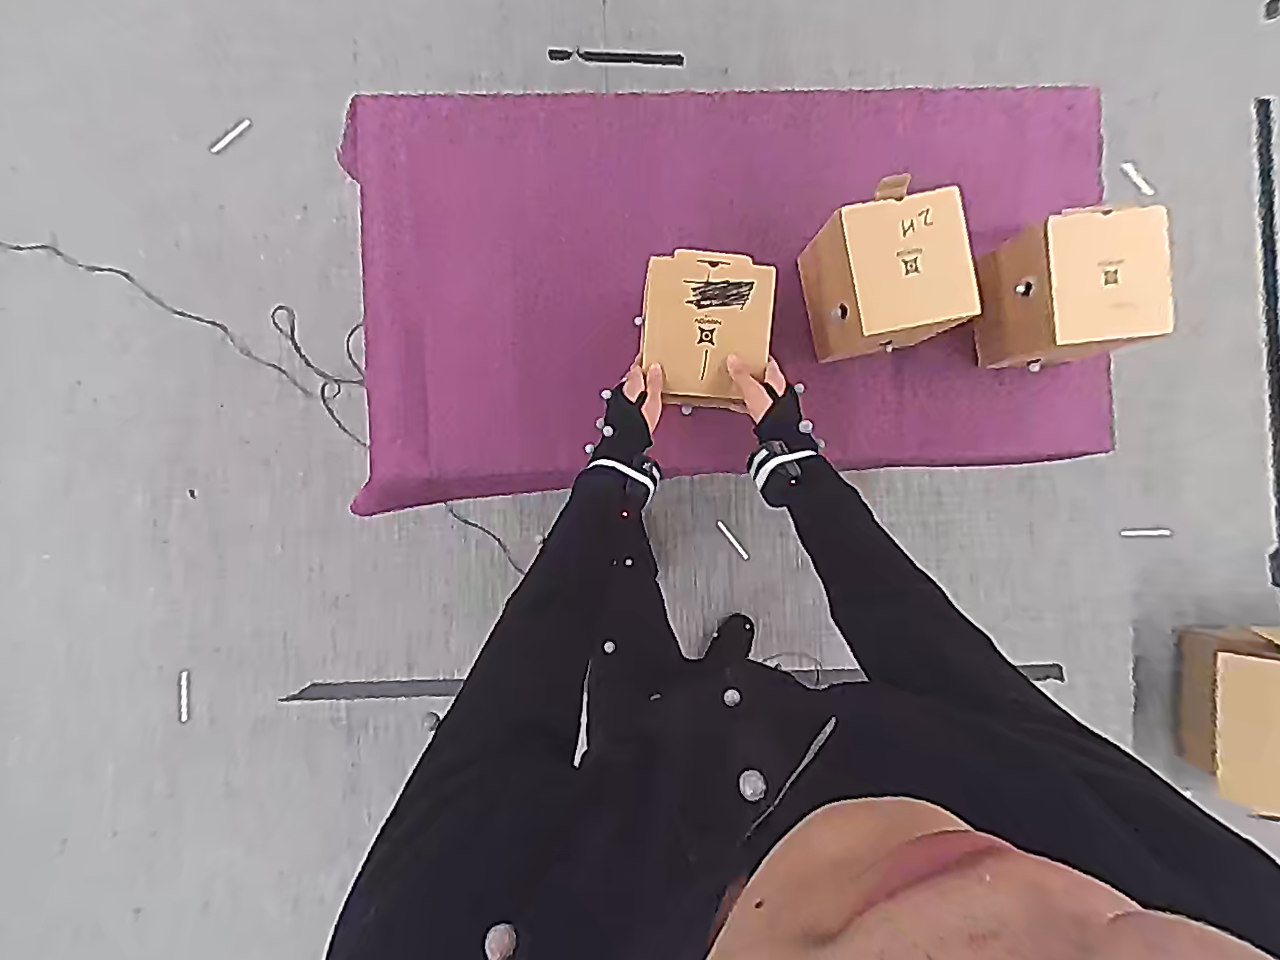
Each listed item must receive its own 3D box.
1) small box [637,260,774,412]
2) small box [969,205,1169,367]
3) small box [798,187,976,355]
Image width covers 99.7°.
[{"bbox_3d":[0.084,-0.196,0.782,0.168,0.176,0.179,4,94,-2],"label":"small box"},{"bbox_3d":[0.624,-0.280,0.811,0.168,0.176,0.179,-6,89,-1],"label":"small box"},{"bbox_3d":[0.352,-0.293,0.800,0.168,0.176,0.179,-11,90,-3],"label":"small box"}]
